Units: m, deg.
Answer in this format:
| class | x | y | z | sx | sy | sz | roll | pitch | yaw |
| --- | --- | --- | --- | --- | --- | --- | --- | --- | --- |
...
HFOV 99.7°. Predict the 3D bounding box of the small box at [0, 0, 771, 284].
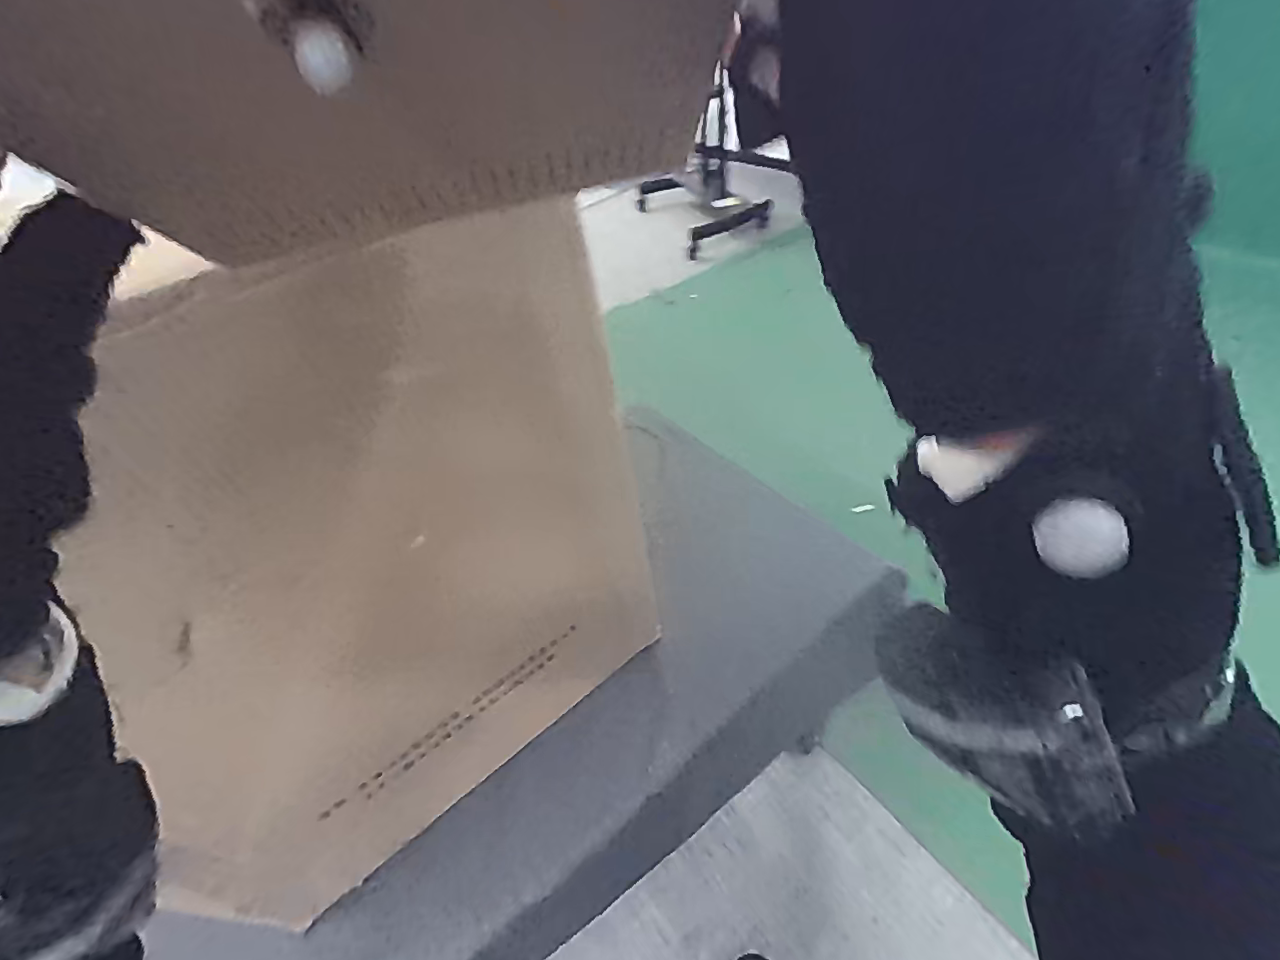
| class | x | y | z | sx | sy | sz | roll | pitch | yaw |
| --- | --- | --- | --- | --- | --- | --- | --- | --- | --- |
| small box | -0.069 | -0.168 | 0.135 | 0.179 | 0.168 | 0.176 | -13 | 3 | -4 |
